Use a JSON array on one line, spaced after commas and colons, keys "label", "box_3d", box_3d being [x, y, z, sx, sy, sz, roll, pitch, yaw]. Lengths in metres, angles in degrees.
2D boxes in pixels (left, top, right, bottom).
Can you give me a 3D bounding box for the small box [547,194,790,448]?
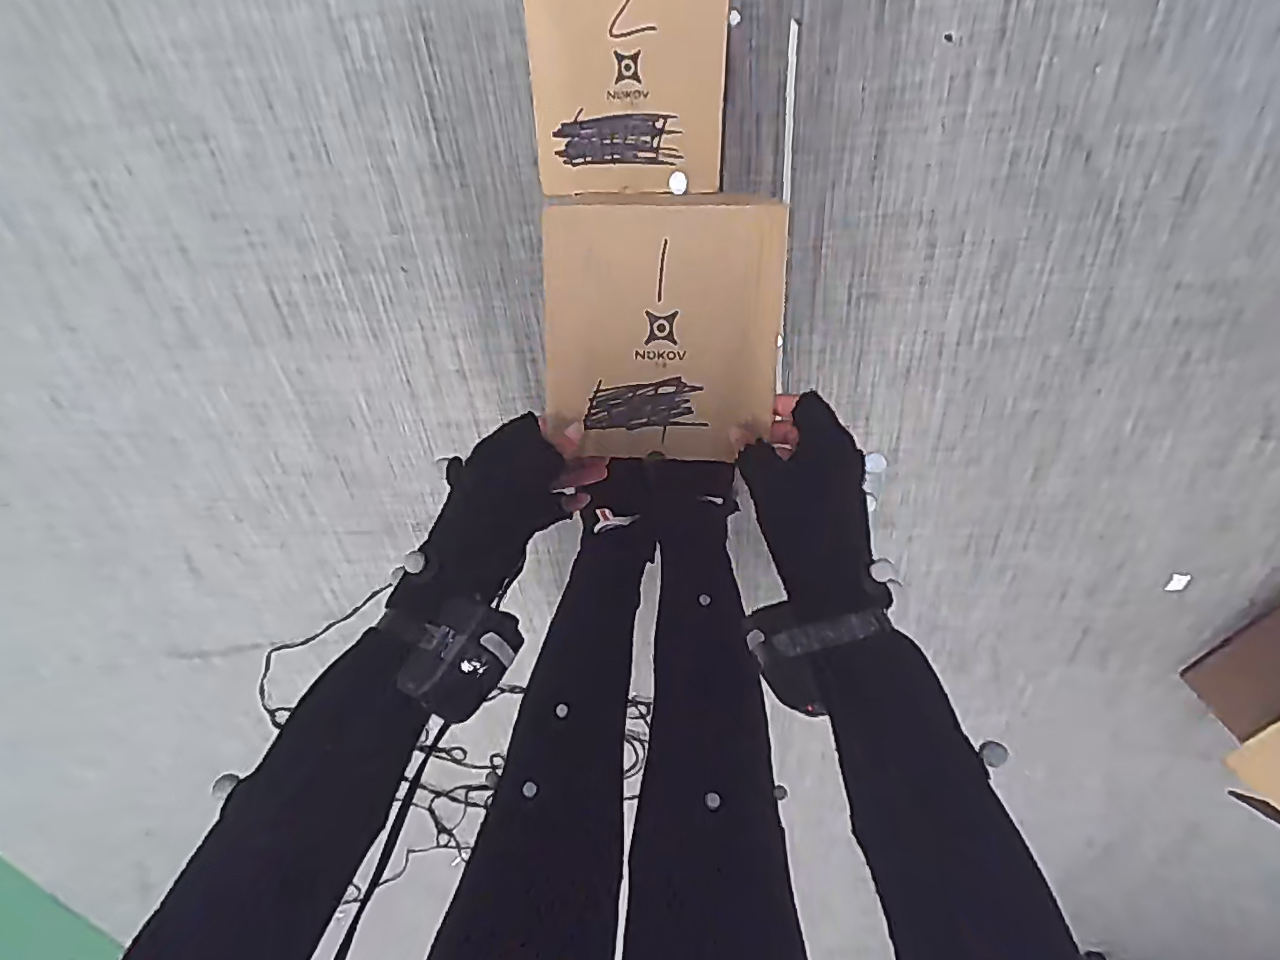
[{"label": "small box", "box_3d": [0.024, -0.145, 0.468, 0.168, 0.176, 0.179, 3, 119, 4]}]
